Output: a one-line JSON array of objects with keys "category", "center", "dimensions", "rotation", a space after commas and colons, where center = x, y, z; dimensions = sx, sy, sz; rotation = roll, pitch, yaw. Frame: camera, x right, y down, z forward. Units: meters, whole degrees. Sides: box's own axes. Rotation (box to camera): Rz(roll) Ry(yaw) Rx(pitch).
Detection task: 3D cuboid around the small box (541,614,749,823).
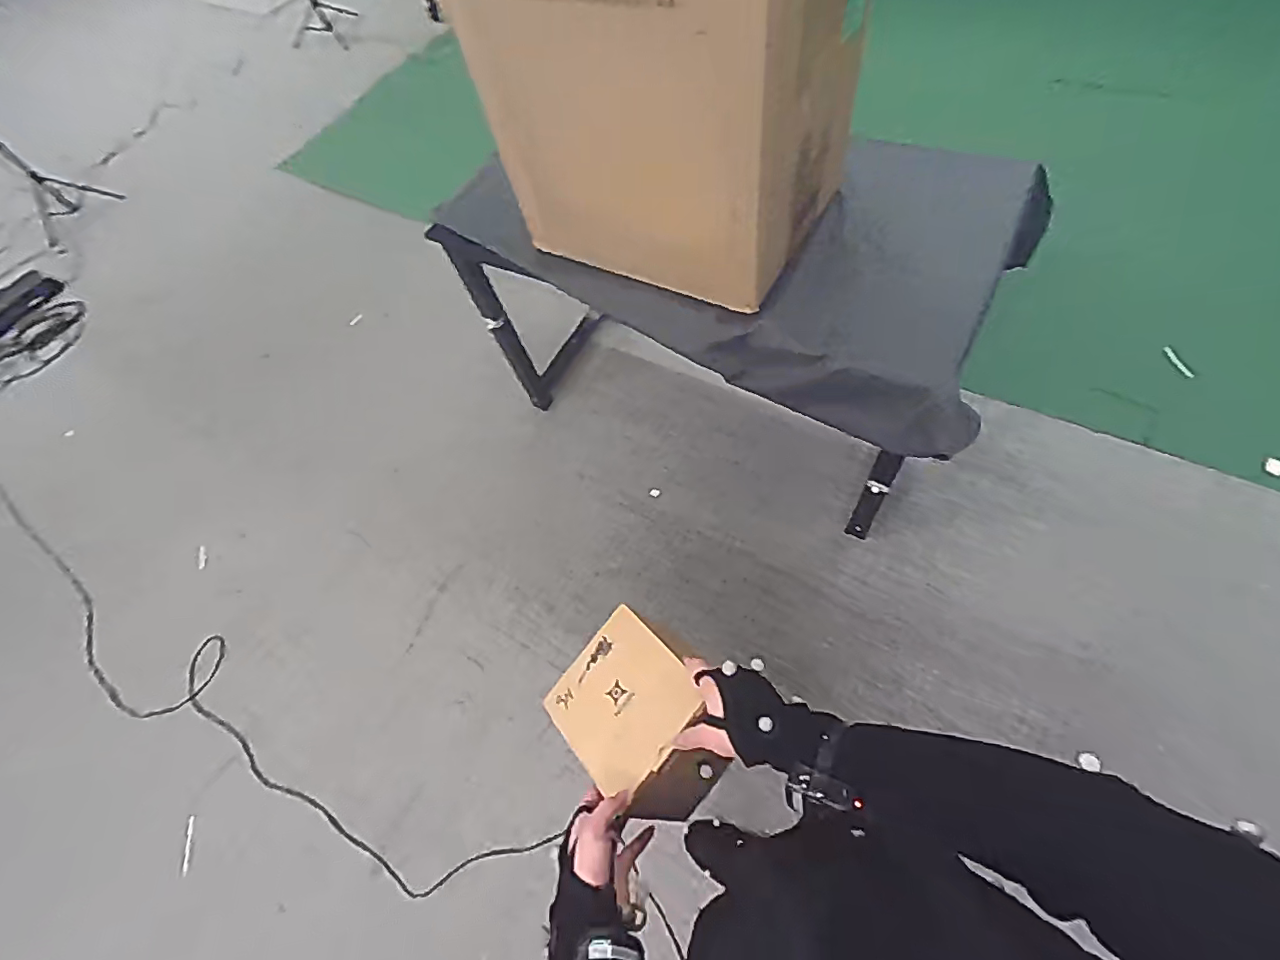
[{"category": "small box", "center": [0.012, 0.310, 0.706], "dimensions": [0.168, 0.176, 0.179], "rotation": [-50, 46, -4]}]
